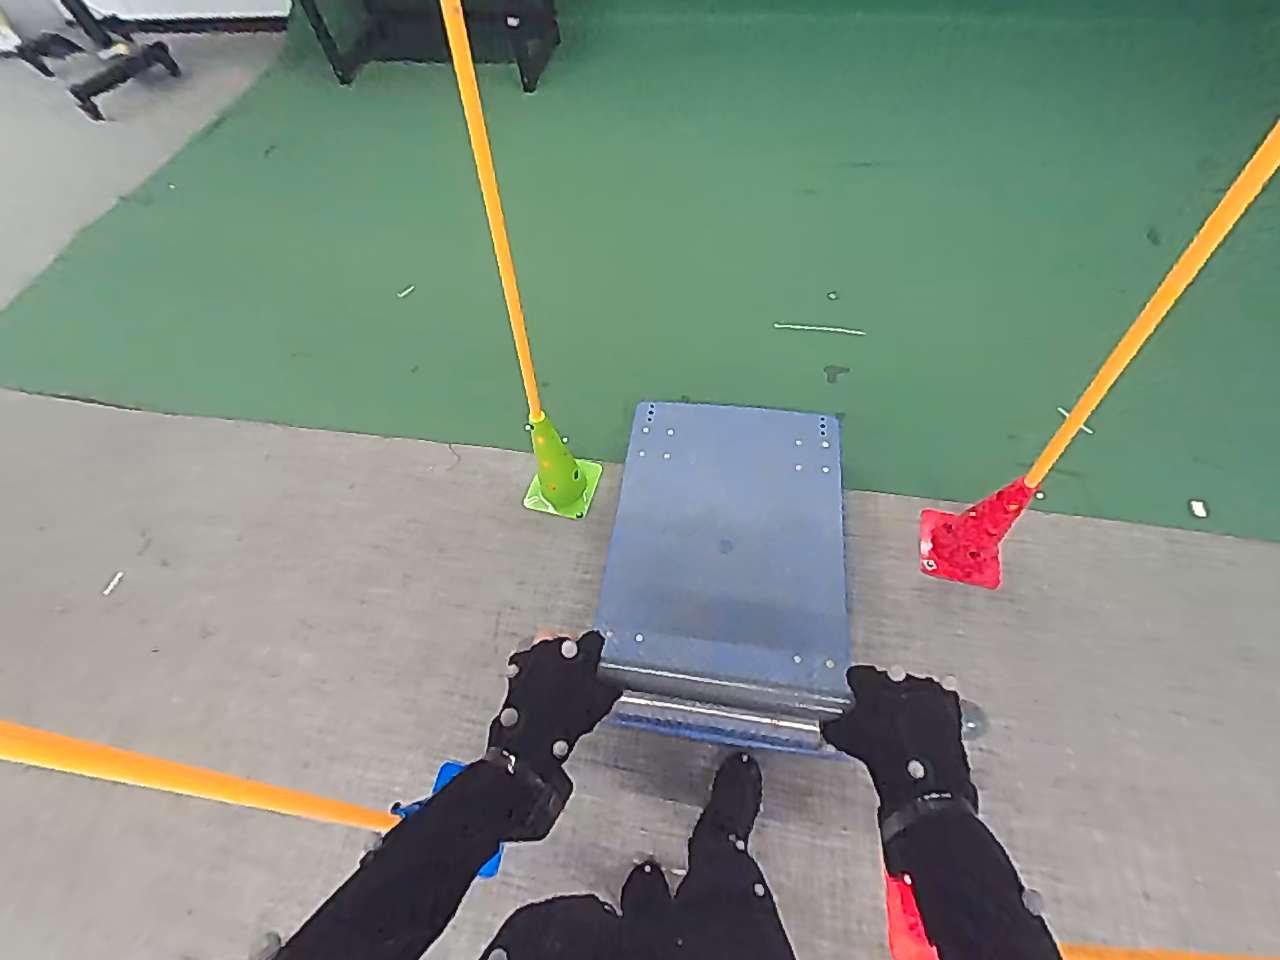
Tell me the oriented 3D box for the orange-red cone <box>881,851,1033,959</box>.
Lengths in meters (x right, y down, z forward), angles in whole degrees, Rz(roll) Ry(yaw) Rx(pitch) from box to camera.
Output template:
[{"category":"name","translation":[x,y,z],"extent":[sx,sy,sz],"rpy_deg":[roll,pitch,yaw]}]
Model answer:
[{"category":"orange-red cone","translation":[0.578,0.793,0.950],"extent":[0.199,0.360,0.198],"rpy_deg":[6,59,10]}]

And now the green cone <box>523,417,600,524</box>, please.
[{"category":"green cone","translation":[-0.254,-0.055,1.525],"extent":[0.202,0.368,0.200],"rpy_deg":[11,60,12]}]
